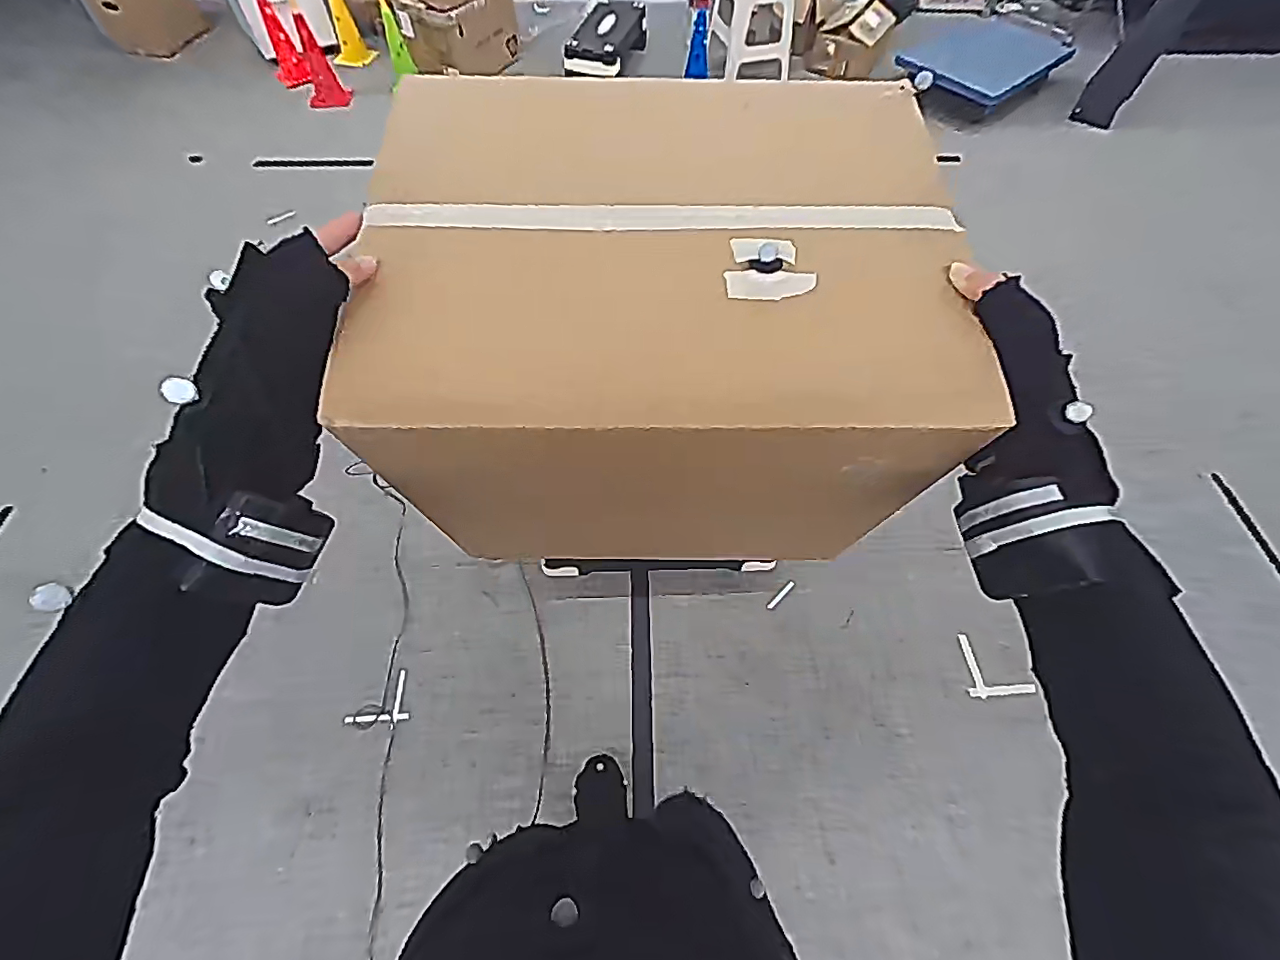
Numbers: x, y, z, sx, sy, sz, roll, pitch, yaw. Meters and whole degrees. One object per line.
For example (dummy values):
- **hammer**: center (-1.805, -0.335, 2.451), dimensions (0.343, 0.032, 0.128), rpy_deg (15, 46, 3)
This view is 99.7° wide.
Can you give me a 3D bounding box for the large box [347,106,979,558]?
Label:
- **large box**: center (0.011, -0.114, 0.529), dimensions (0.408, 0.320, 0.320), rpy_deg (0, 67, -1)
